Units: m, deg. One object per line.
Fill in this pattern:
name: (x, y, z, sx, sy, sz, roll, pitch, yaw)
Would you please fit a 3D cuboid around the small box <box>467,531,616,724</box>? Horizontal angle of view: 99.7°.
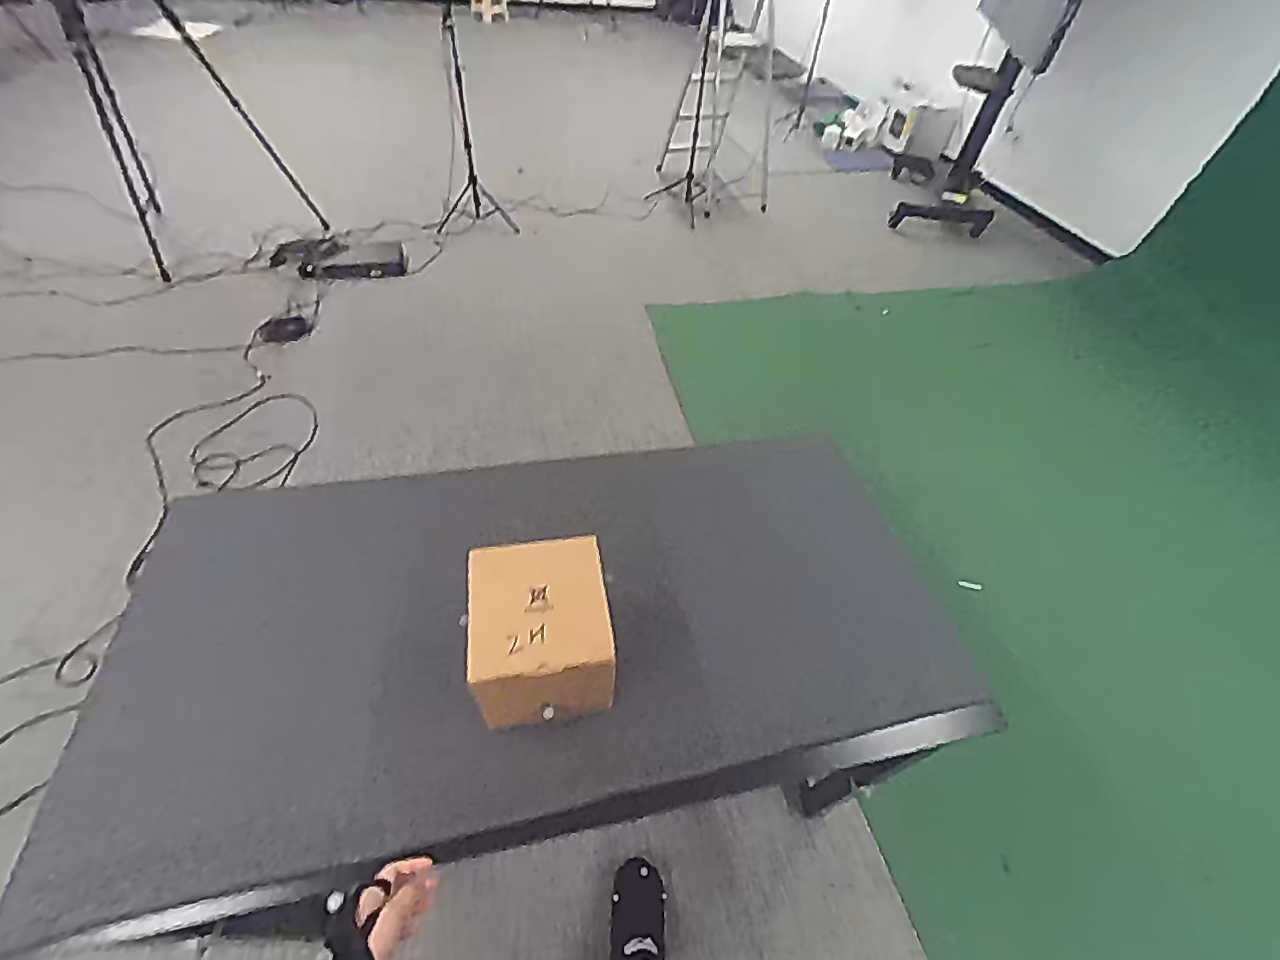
small box: (-0.129, 0.192, 0.708, 0.168, 0.176, 0.179, -6, 49, -10)
